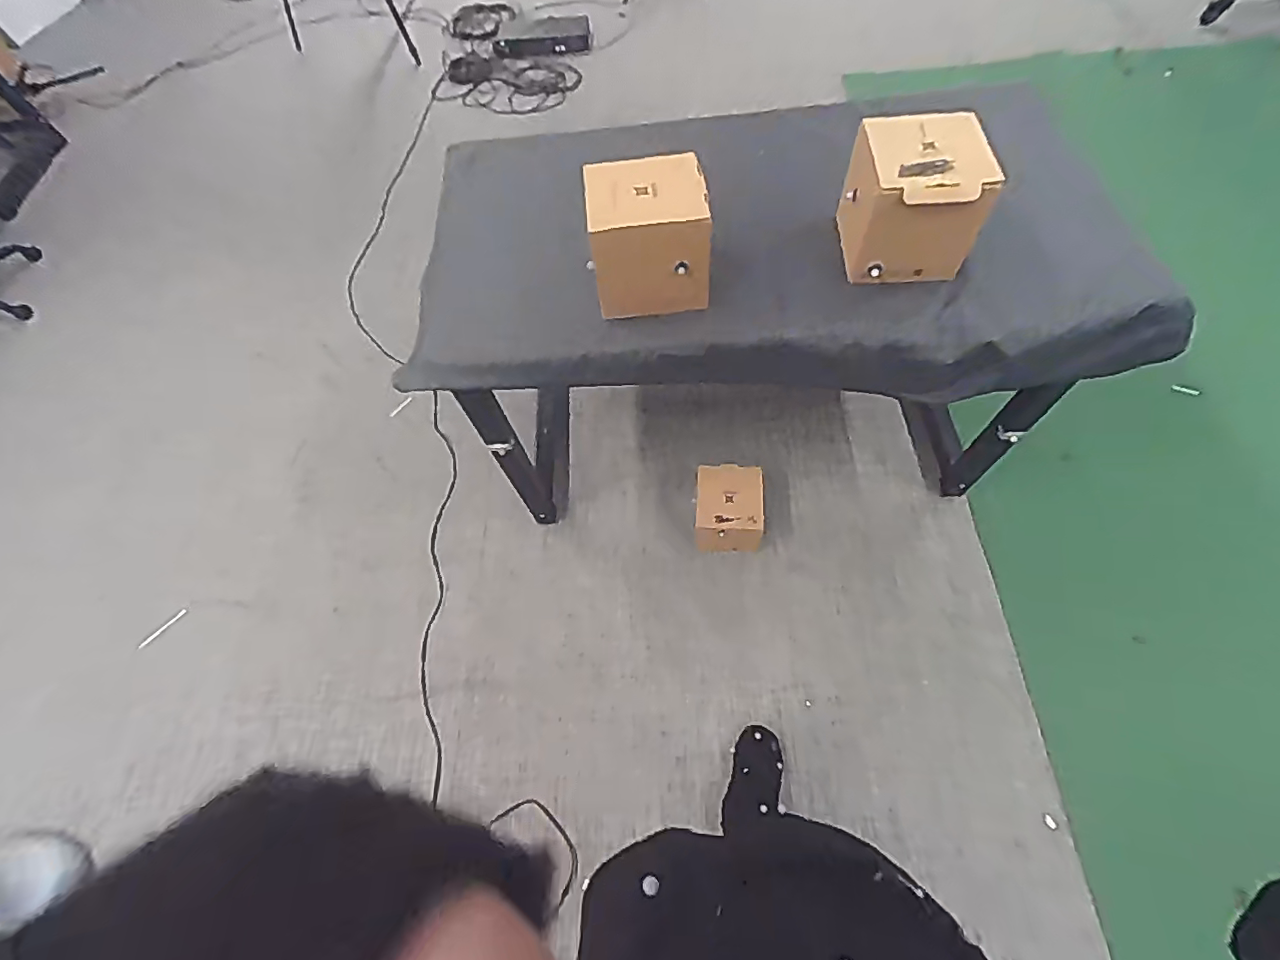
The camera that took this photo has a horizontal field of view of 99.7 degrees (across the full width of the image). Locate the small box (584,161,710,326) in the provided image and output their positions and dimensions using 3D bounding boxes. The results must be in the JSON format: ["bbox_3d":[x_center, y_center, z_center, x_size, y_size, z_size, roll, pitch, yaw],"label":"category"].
[{"bbox_3d":[0.012,-0.371,0.866,0.179,0.176,0.168,-8,59,2],"label":"small box"}]

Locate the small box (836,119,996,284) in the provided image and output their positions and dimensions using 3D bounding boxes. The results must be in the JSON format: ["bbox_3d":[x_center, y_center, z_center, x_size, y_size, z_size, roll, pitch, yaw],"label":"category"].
[{"bbox_3d":[0.419,-0.430,0.855,0.168,0.176,0.179,0,62,5],"label":"small box"}]
